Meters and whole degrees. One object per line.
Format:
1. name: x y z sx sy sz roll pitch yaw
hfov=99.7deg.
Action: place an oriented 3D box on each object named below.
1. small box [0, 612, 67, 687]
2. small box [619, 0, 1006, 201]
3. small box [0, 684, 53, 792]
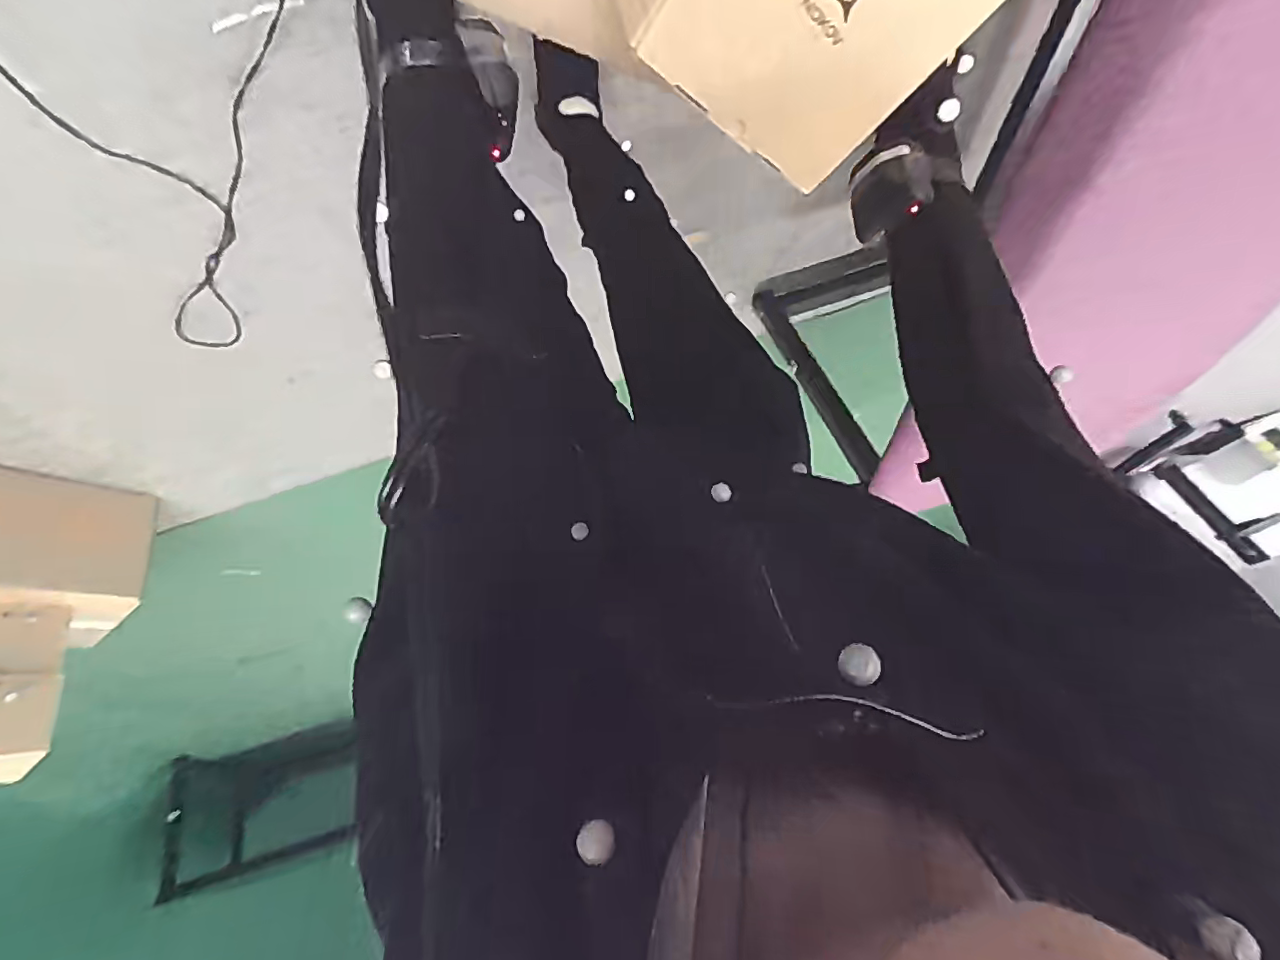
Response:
1. small box: -1.416 0.404 1.192 0.179 0.176 0.168 -37 146 25
2. small box: 0.093 -0.326 0.328 0.168 0.176 0.179 13 145 -36
3. small box: -1.356 0.529 1.103 0.179 0.176 0.168 -35 147 20
